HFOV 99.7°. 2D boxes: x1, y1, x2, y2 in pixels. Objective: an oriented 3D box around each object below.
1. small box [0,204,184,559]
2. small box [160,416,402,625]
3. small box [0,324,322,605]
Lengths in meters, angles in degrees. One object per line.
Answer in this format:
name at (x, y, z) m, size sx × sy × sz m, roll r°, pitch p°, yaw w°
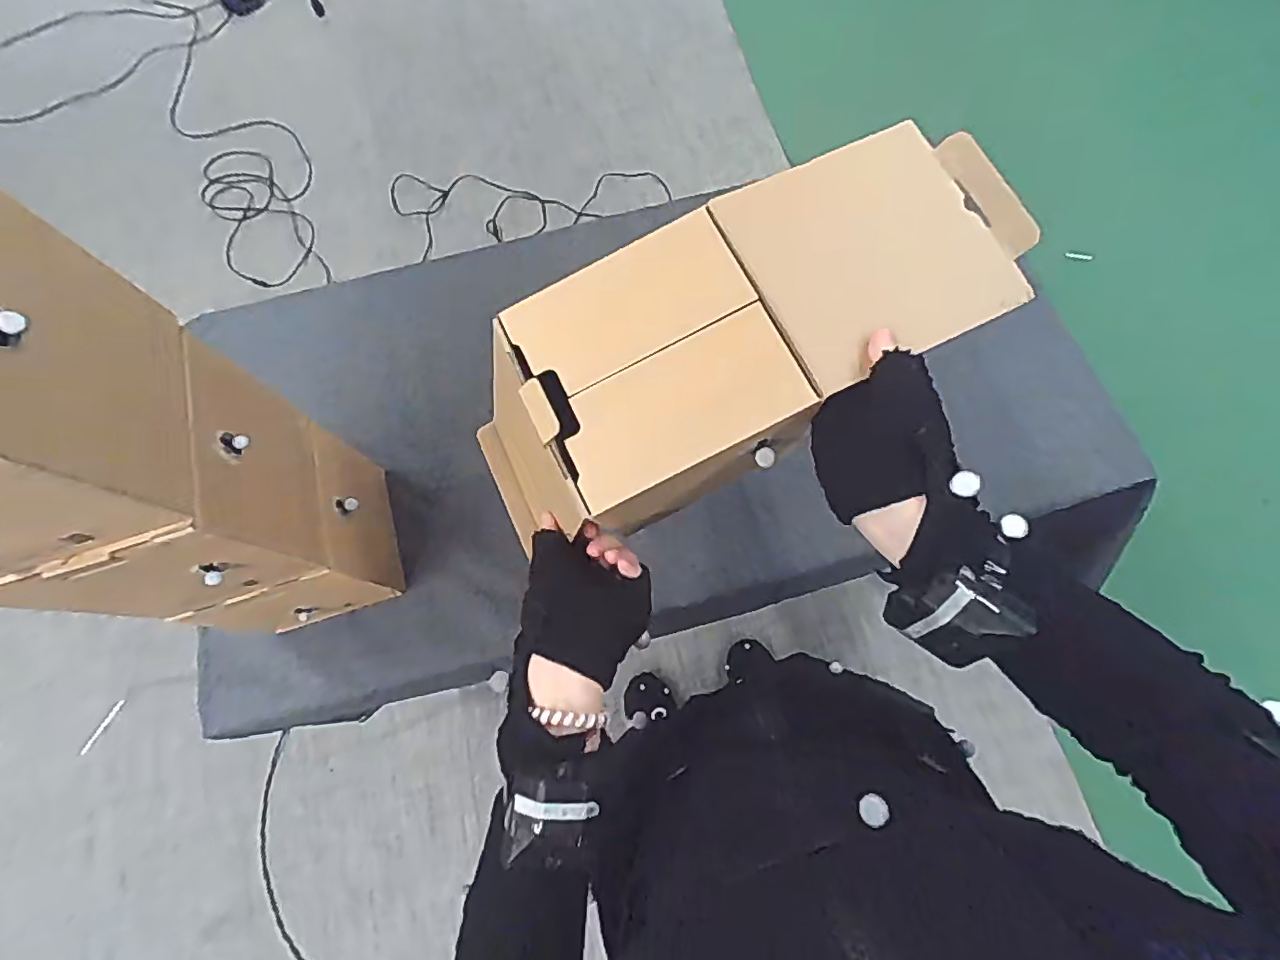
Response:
small box at (-0.413, -0.055, 0.315) m, size 0.168 × 0.176 × 0.179 m, roll -18°, pitch 72°, yaw -5°
small box at (-0.400, 0.056, 0.622) m, size 0.168 × 0.176 × 0.179 m, roll -17°, pitch 72°, yaw -4°
small box at (-0.405, 0.003, 0.469) m, size 0.168 × 0.176 × 0.179 m, roll -17°, pitch 72°, yaw -4°
